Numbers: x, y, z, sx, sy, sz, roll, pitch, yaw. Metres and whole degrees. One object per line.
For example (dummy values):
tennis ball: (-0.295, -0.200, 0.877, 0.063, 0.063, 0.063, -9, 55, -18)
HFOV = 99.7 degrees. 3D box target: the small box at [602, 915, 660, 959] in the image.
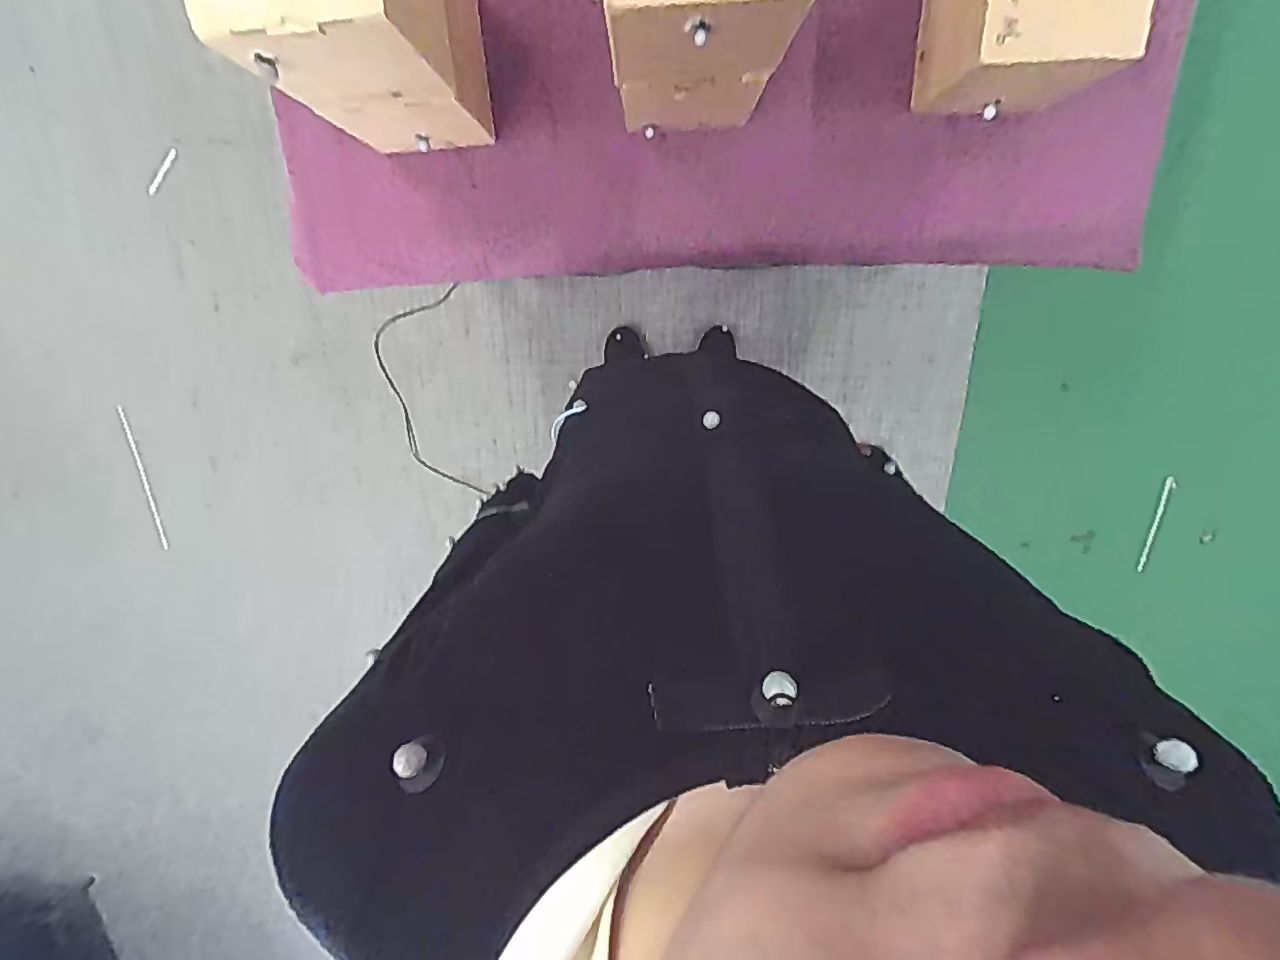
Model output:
small box: (-0.027, 1.431, 1.585, 0.168, 0.176, 0.179, 2, 107, 2)

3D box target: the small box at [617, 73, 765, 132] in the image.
small box: (0.057, -0.537, 0.646, 0.168, 0.176, 0.179, -2, 106, 2)

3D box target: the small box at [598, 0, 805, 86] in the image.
small box: (0.052, -0.485, 0.492, 0.179, 0.176, 0.168, -2, 108, 2)

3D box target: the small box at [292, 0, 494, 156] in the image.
small box: (-0.290, -0.521, 0.659, 0.168, 0.176, 0.179, -3, 107, 3)

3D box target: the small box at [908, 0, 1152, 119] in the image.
small box: (0.447, -0.545, 0.633, 0.179, 0.176, 0.168, -1, 107, 2)
